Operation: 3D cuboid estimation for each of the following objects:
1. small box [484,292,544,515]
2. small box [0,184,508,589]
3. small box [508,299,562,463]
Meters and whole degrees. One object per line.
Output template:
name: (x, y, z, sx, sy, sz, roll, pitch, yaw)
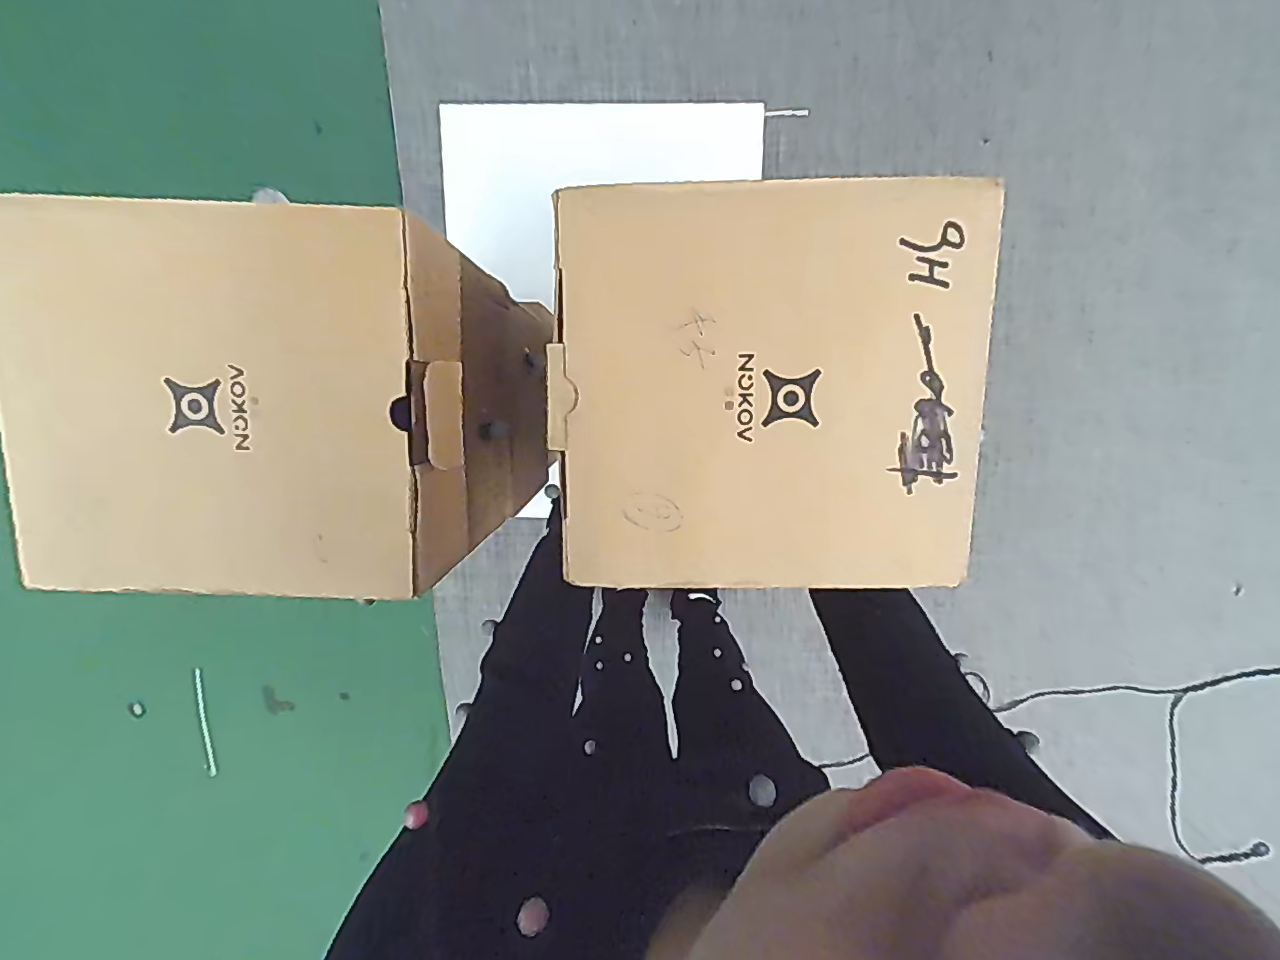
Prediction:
small box: (-0.181, -0.066, 0.469, 0.179, 0.176, 0.168, -1, 98, 0)
small box: (-0.182, -0.046, 0.307, 0.179, 0.176, 0.168, 1, 99, -1)
small box: (-0.182, -0.108, 0.626, 0.168, 0.176, 0.179, 0, 99, -2)
